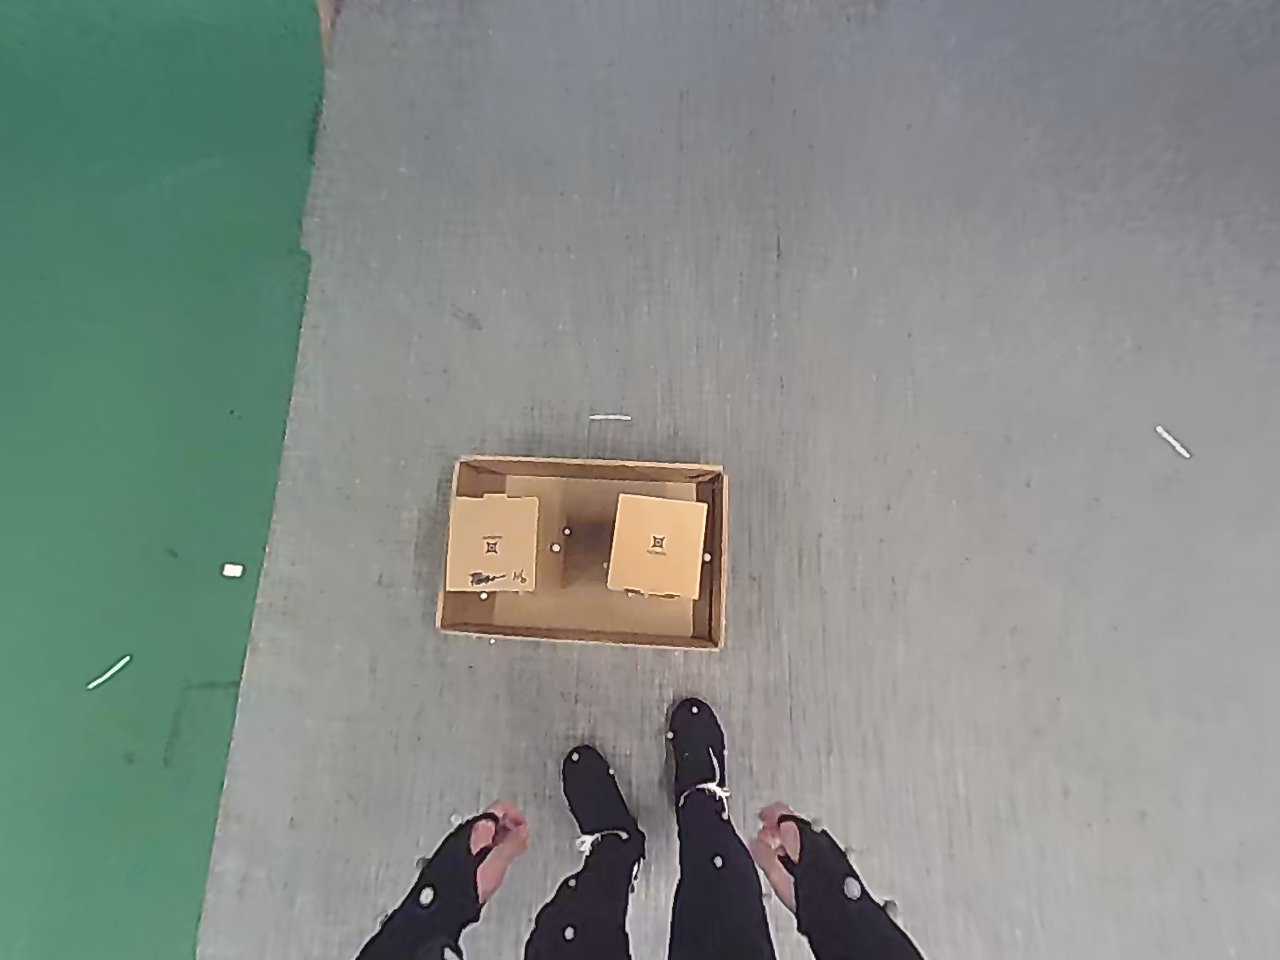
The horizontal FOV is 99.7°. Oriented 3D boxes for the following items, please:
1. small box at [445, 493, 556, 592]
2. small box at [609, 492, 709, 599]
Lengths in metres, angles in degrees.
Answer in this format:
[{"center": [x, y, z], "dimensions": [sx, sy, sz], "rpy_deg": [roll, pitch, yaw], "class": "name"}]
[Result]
[{"center": [-0.264, 0.127, 1.060], "dimensions": [0.168, 0.176, 0.179], "rpy_deg": [0, 78, 4], "class": "small box"}, {"center": [0.036, 0.130, 1.051], "dimensions": [0.168, 0.176, 0.179], "rpy_deg": [7, 81, 3], "class": "small box"}]
